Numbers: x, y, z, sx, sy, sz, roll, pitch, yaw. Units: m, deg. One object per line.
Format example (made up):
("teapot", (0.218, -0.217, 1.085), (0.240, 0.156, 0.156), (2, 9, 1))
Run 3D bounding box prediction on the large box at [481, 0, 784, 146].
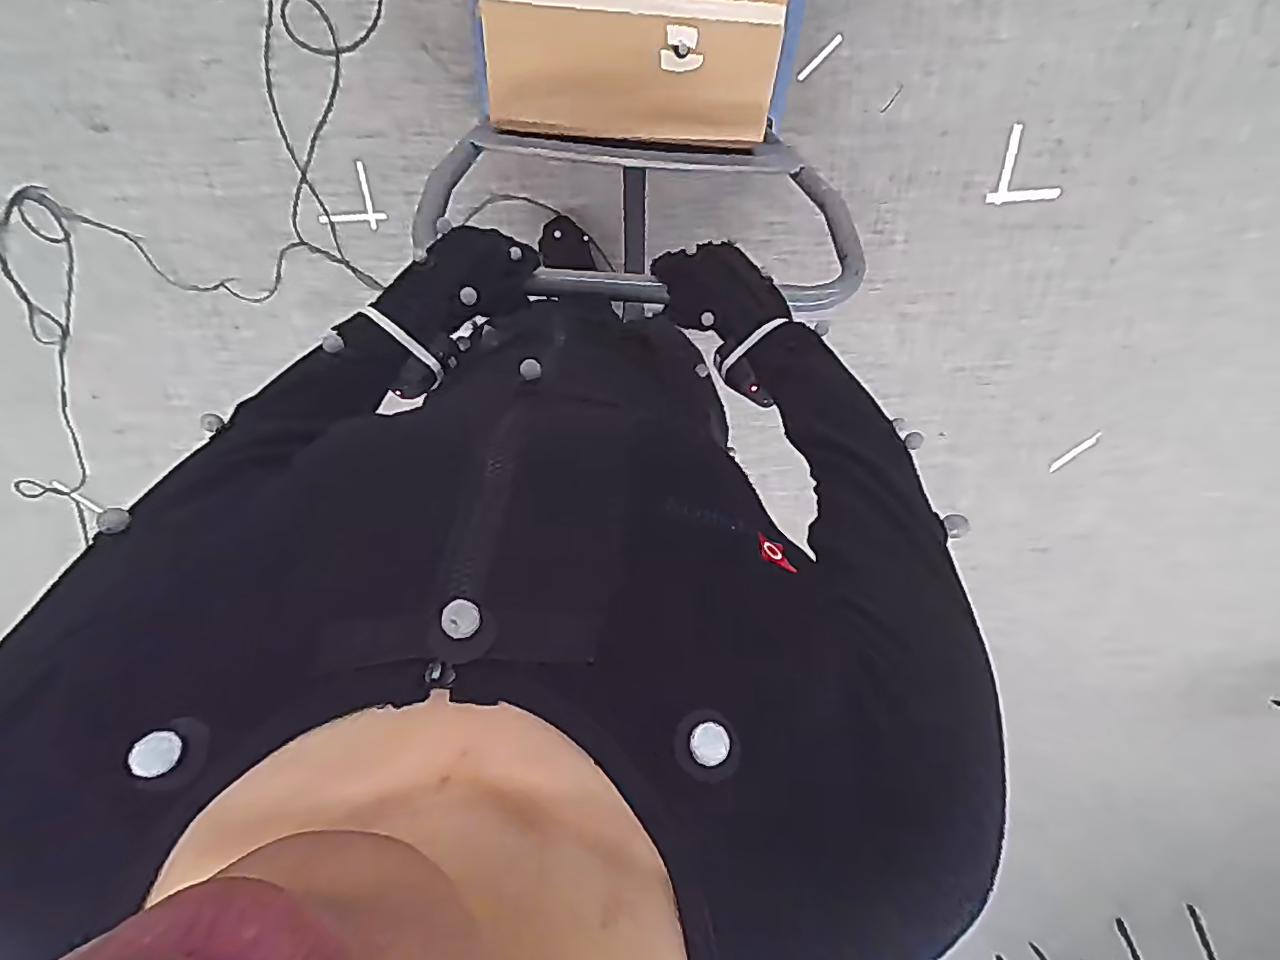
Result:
("large box", (-0.017, -0.716, 0.819), (0.408, 0.320, 0.320), (1, 130, -5))
